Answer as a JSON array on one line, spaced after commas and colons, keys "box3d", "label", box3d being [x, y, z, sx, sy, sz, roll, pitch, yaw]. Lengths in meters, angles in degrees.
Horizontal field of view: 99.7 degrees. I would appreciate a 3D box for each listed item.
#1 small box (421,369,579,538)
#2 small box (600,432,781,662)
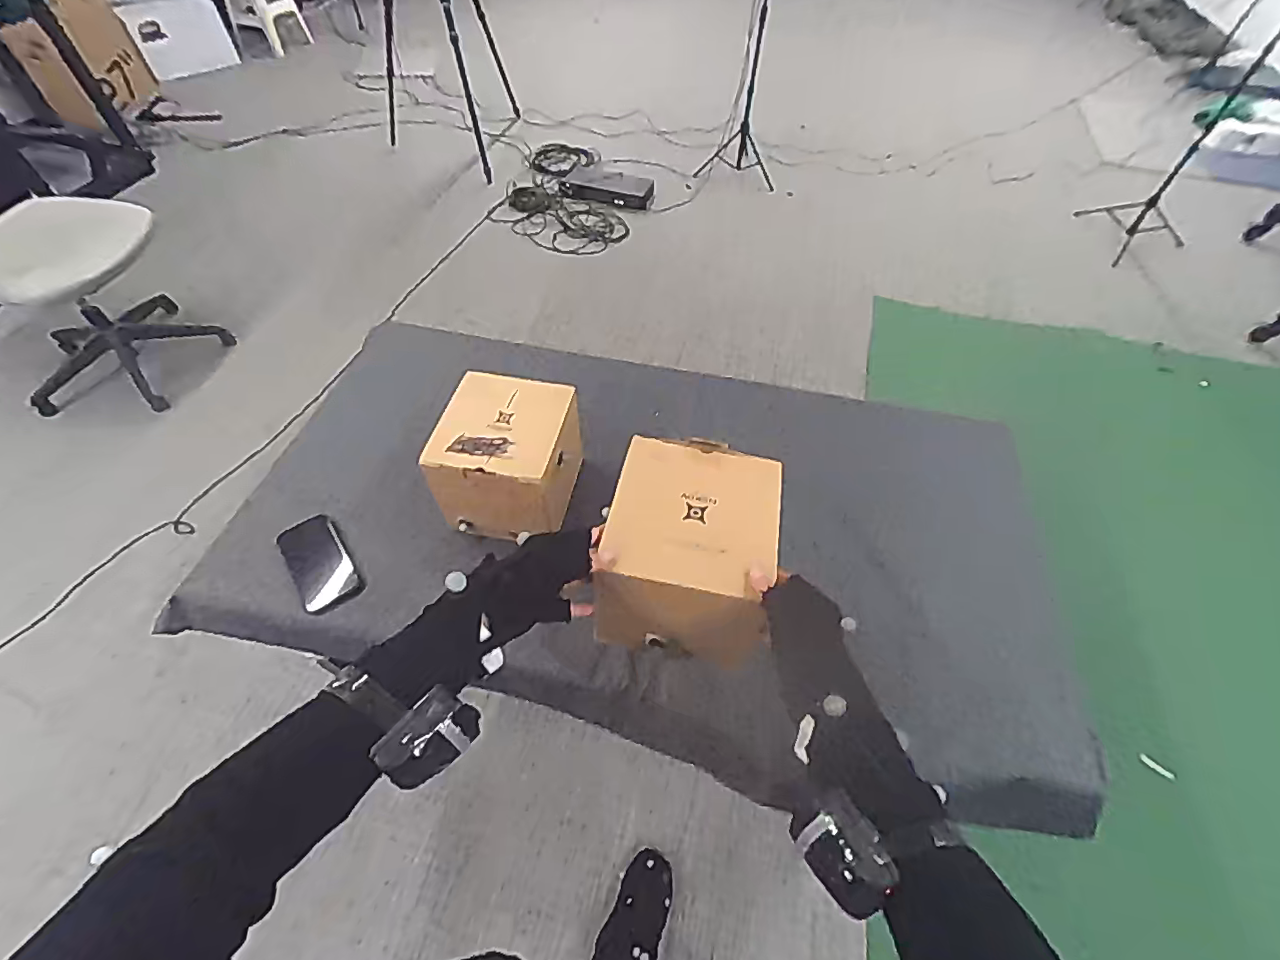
[{"box3d": [-0.191, -0.035, 0.801, 0.168, 0.176, 0.179, 10, 53, 4], "label": "small box"}, {"box3d": [0.053, 0.077, 0.602, 0.168, 0.176, 0.179, 10, 52, 5], "label": "small box"}]
